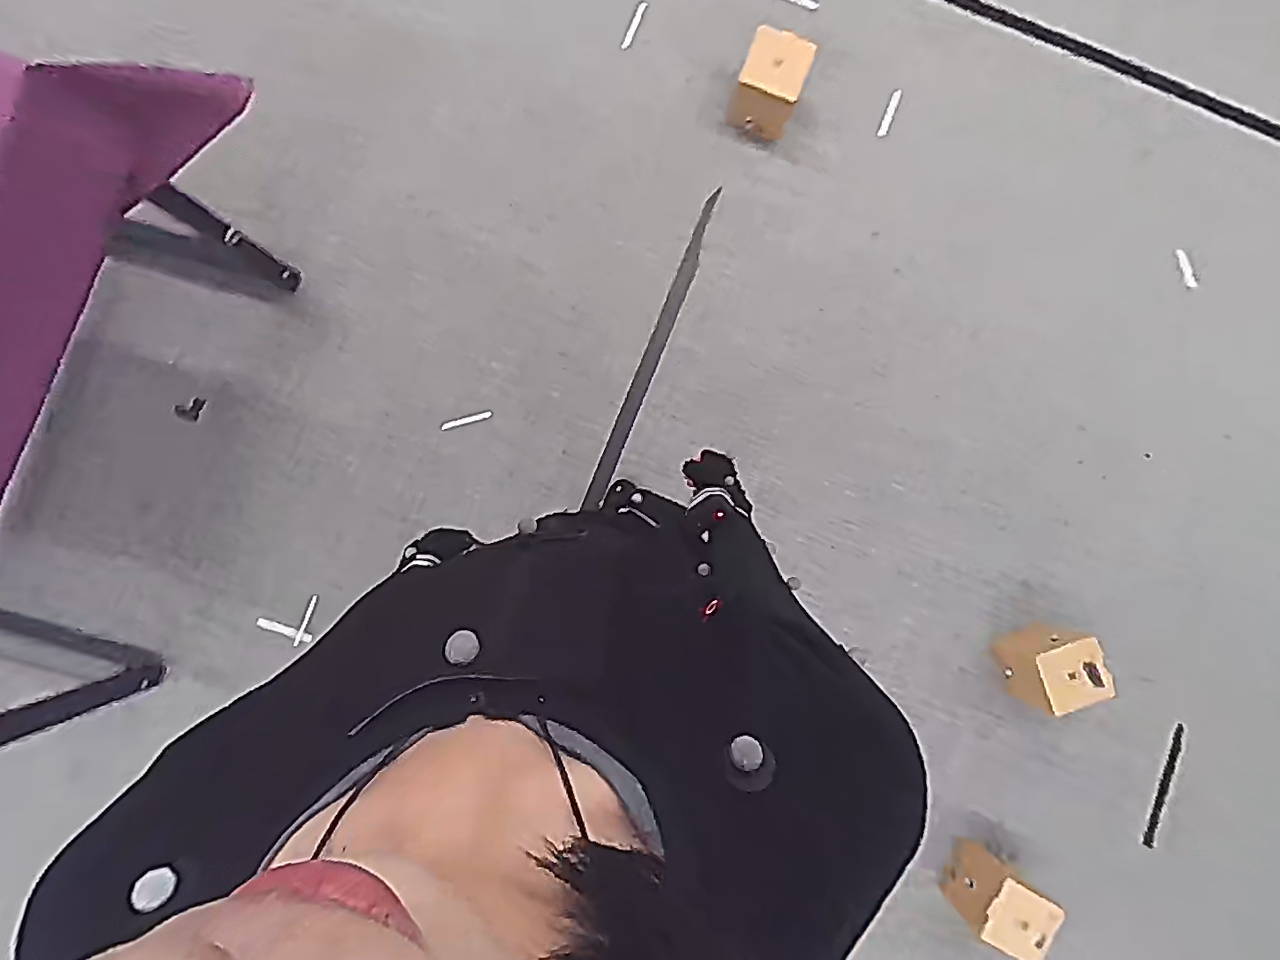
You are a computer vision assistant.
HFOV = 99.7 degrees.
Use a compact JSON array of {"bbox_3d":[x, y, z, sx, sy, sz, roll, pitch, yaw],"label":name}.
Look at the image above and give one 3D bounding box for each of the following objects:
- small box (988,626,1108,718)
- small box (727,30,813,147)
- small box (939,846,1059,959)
[{"bbox_3d":[1.109,0.517,1.484,0.179,0.176,0.168,-18,88,-3],"label":"small box"},{"bbox_3d":[0.359,-1.097,1.527,0.168,0.176,0.179,21,87,0],"label":"small box"},{"bbox_3d":[0.947,1.127,1.444,0.179,0.176,0.168,30,86,0],"label":"small box"}]
